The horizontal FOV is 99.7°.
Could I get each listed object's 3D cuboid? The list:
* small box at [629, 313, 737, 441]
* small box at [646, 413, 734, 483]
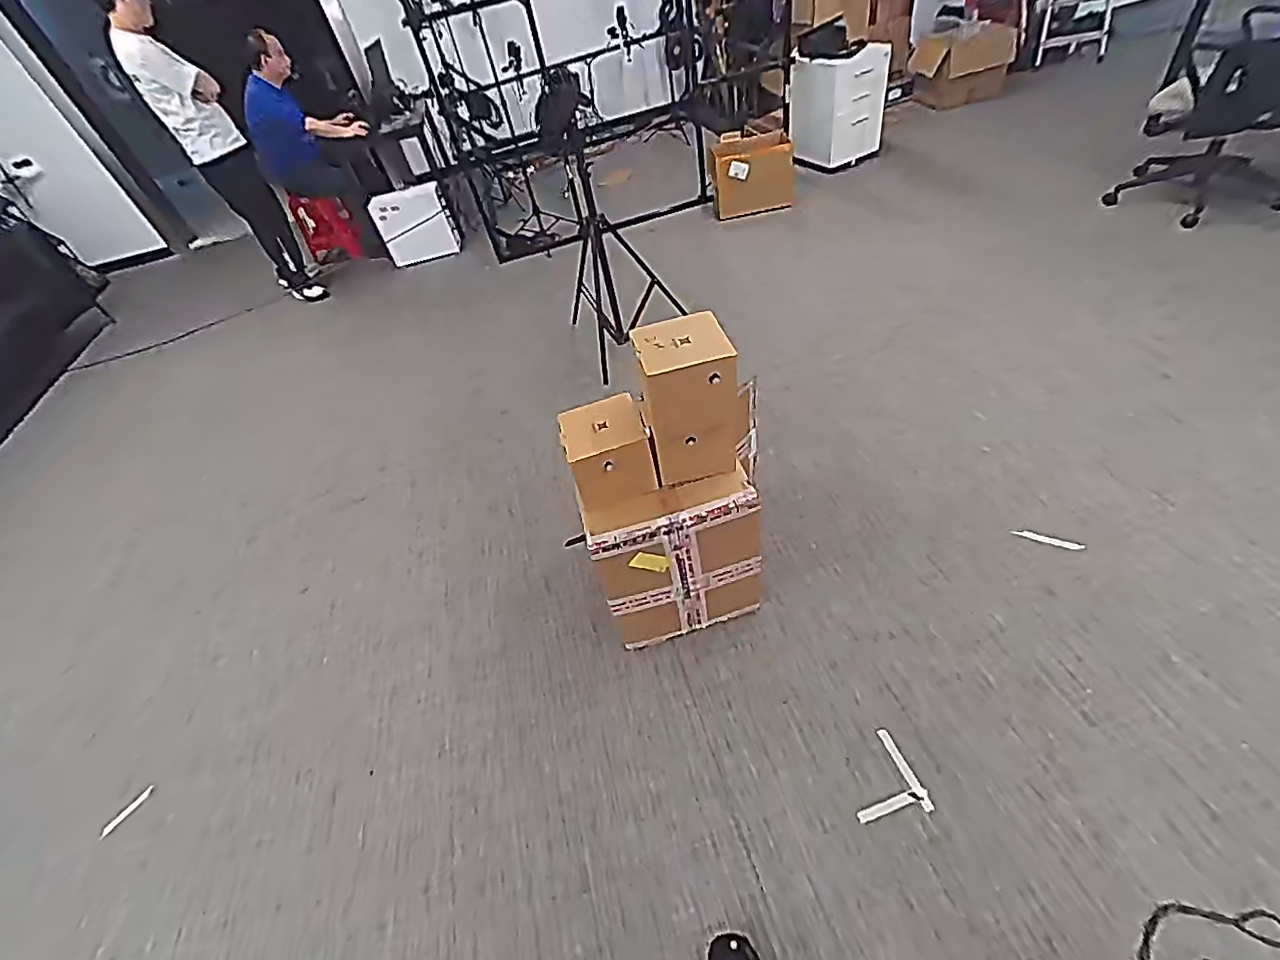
[{"bbox_3d":[0.086,-0.206,1.091,0.179,0.176,0.168,-15,47,-2],"label":"small box"},{"bbox_3d":[0.110,-0.114,1.228,0.179,0.176,0.168,-12,47,0],"label":"small box"}]
